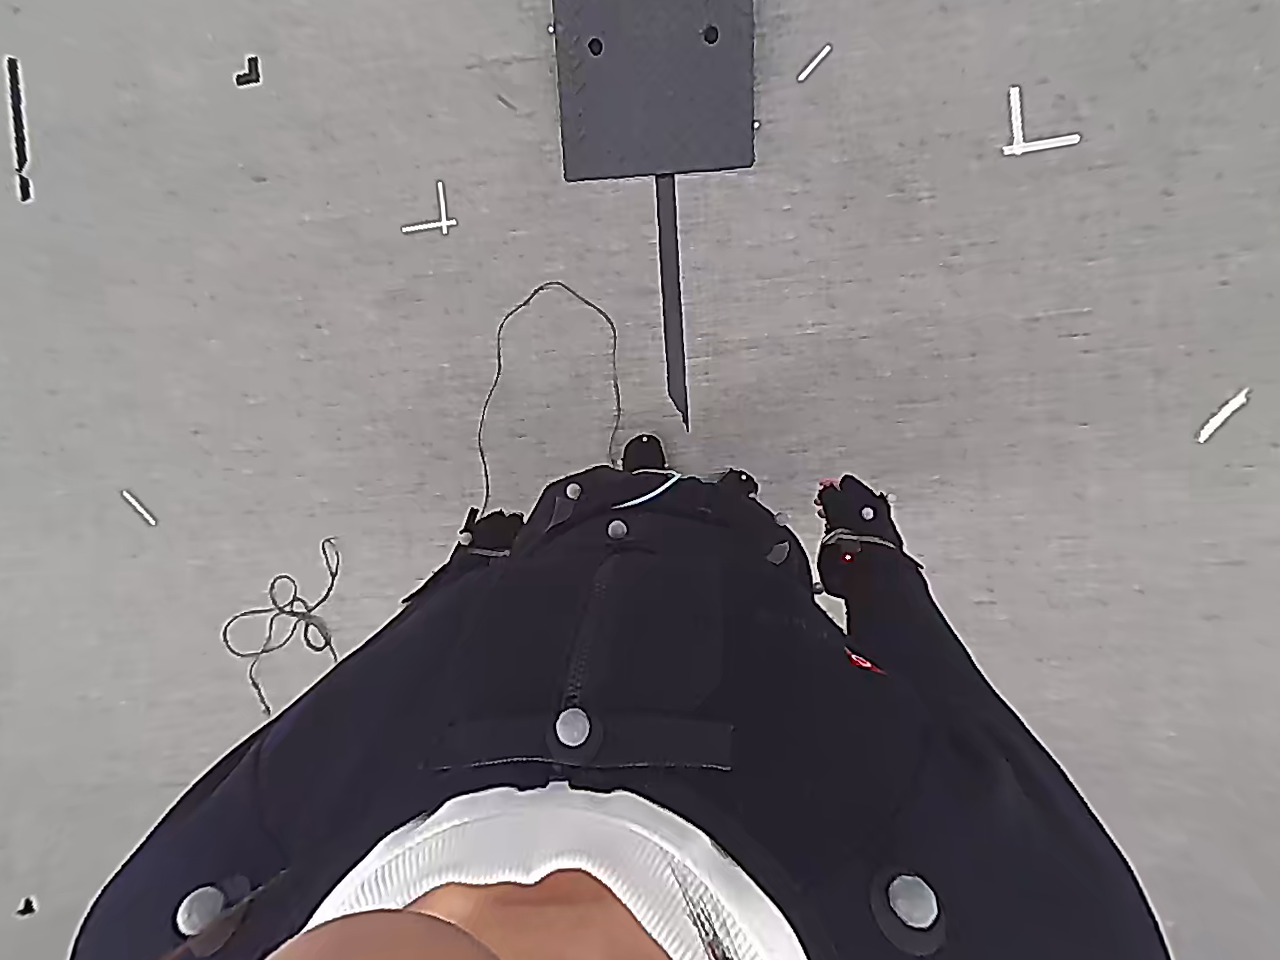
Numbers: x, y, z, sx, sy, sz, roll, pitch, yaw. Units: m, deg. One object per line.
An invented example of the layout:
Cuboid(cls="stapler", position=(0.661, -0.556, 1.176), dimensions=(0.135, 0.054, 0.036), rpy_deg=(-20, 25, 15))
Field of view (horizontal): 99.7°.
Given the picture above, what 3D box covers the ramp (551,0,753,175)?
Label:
Cuboid(cls="ramp", position=(0.020, -1.289, 1.274), dimensions=(0.509, 0.206, 0.991), rpy_deg=(-3, 94, 5))
